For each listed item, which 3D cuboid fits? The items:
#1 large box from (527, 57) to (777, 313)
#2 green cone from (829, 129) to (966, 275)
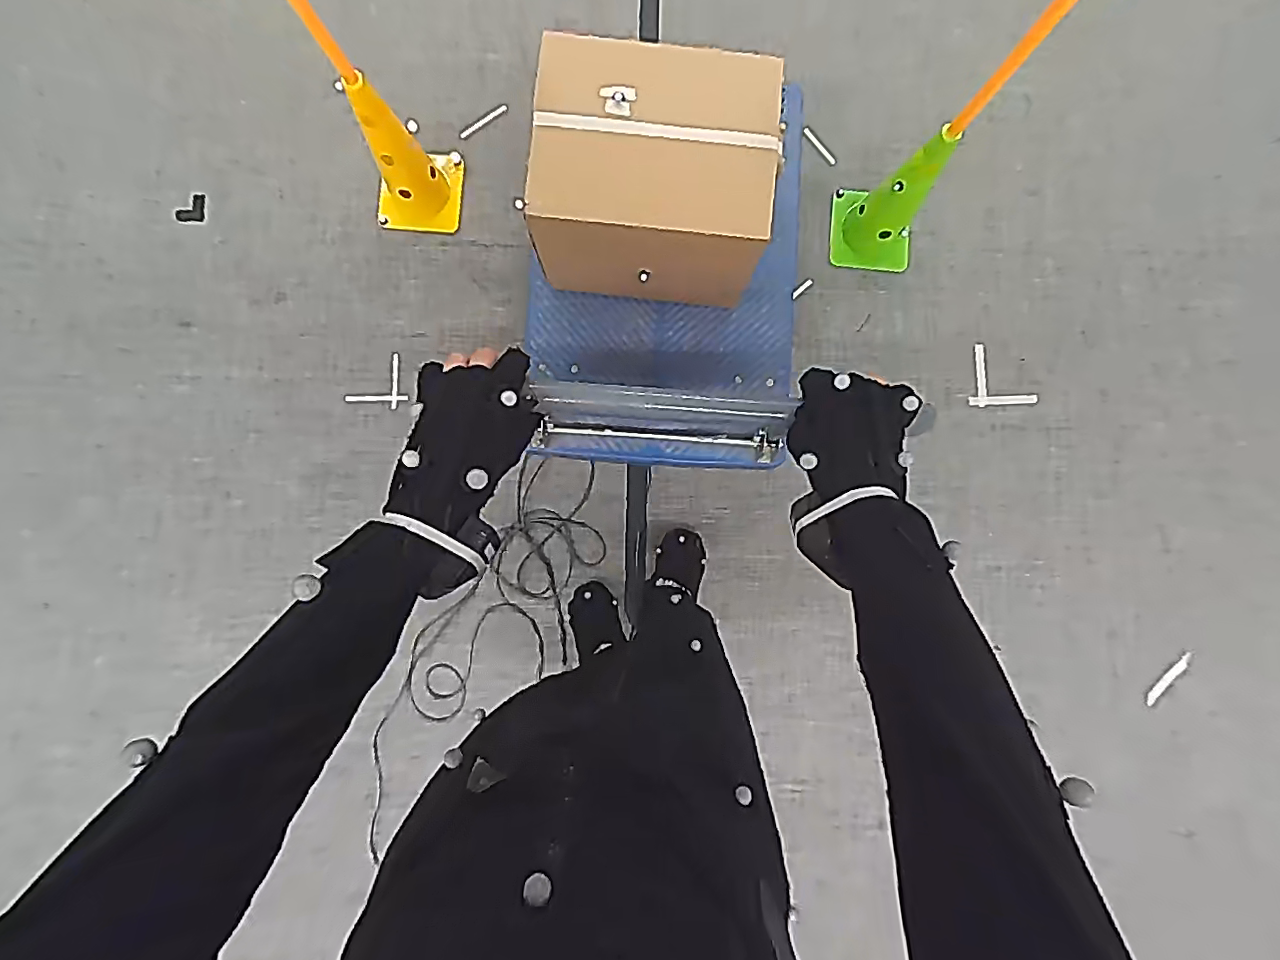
[{"bbox_3d":[0.023,-0.537,1.051,0.408,0.320,0.320,6,87,0],"label":"large box"},{"bbox_3d":[0.592,-0.637,1.210,0.202,0.368,0.200,5,86,-2],"label":"green cone"}]
